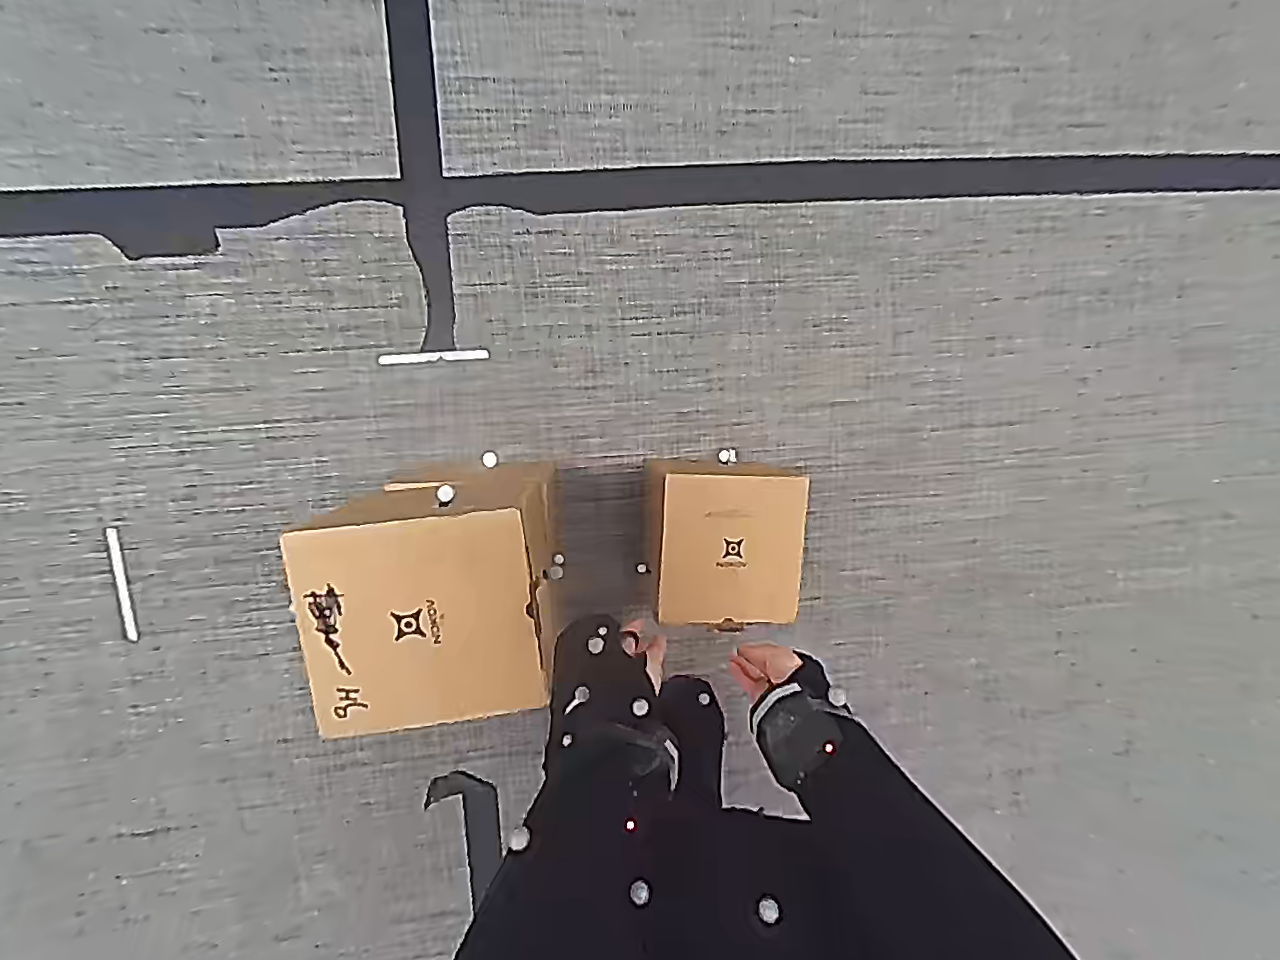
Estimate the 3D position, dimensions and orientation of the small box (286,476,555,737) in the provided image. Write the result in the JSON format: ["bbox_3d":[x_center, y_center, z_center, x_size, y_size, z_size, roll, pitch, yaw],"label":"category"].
[{"bbox_3d":[-0.171,0.094,0.483,0.179,0.176,0.168,-6,99,-7],"label":"small box"}]

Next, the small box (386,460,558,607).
[{"bbox_3d":[-0.185,0.072,0.645,0.168,0.176,0.179,-1,98,-7],"label":"small box"}]

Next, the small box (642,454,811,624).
[{"bbox_3d":[0.095,0.066,0.680,0.168,0.176,0.179,2,98,-8],"label":"small box"}]
